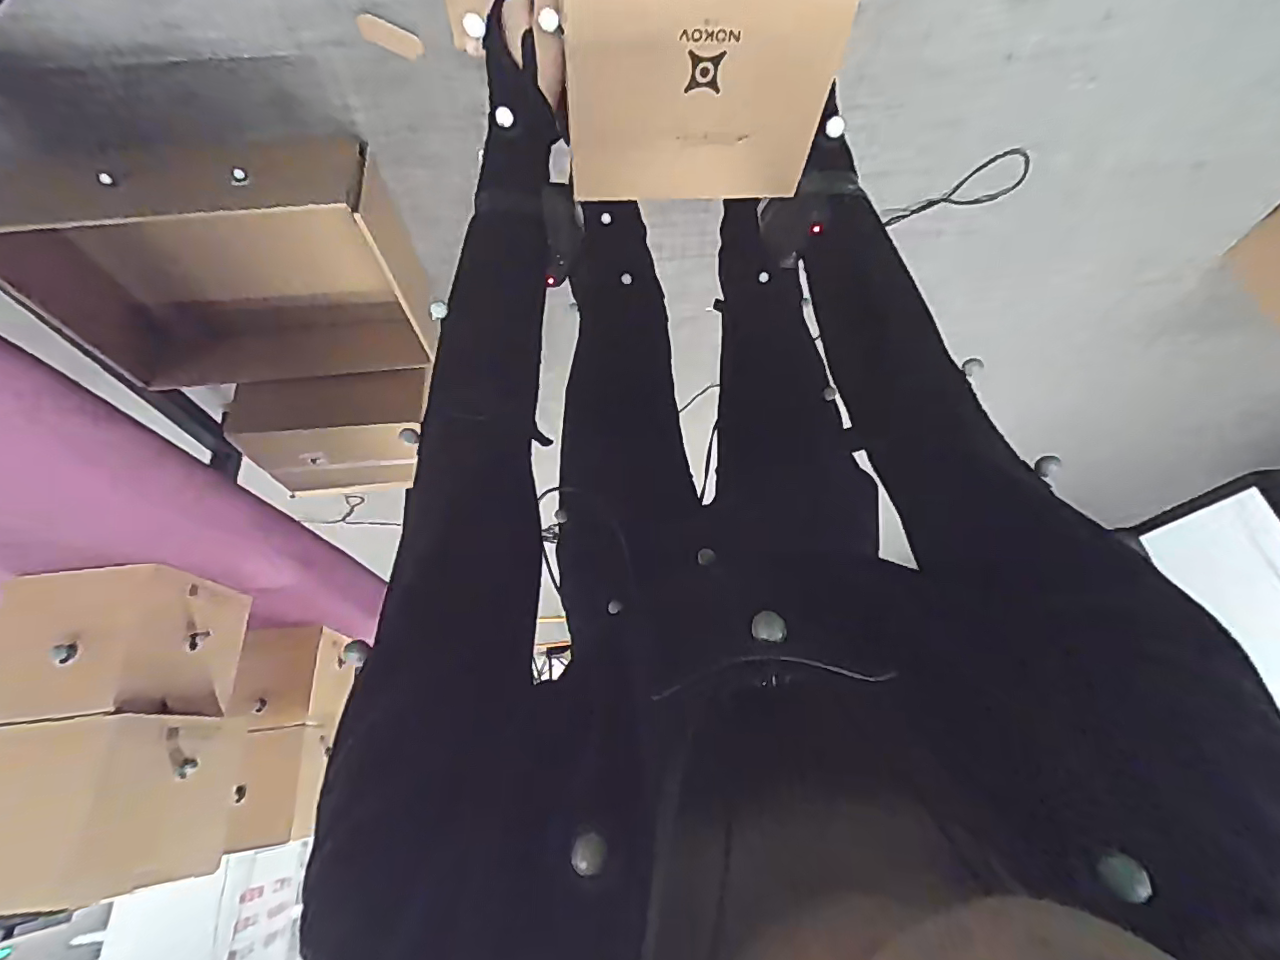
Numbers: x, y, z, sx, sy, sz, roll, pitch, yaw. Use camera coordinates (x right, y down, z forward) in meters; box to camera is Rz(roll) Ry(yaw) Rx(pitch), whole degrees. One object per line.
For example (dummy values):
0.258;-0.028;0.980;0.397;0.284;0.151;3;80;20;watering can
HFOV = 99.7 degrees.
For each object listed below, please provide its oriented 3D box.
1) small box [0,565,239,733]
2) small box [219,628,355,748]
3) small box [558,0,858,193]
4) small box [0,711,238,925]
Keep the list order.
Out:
-0.629;0.209;0.654;0.179;0.176;0.168;-6;152;-1;small box
-0.639;0.373;0.970;0.179;0.176;0.168;-5;152;-6;small box
0.030;-0.322;0.355;0.168;0.176;0.179;-3;153;-6;small box
-0.588;0.356;0.586;0.179;0.176;0.168;-9;153;5;small box
